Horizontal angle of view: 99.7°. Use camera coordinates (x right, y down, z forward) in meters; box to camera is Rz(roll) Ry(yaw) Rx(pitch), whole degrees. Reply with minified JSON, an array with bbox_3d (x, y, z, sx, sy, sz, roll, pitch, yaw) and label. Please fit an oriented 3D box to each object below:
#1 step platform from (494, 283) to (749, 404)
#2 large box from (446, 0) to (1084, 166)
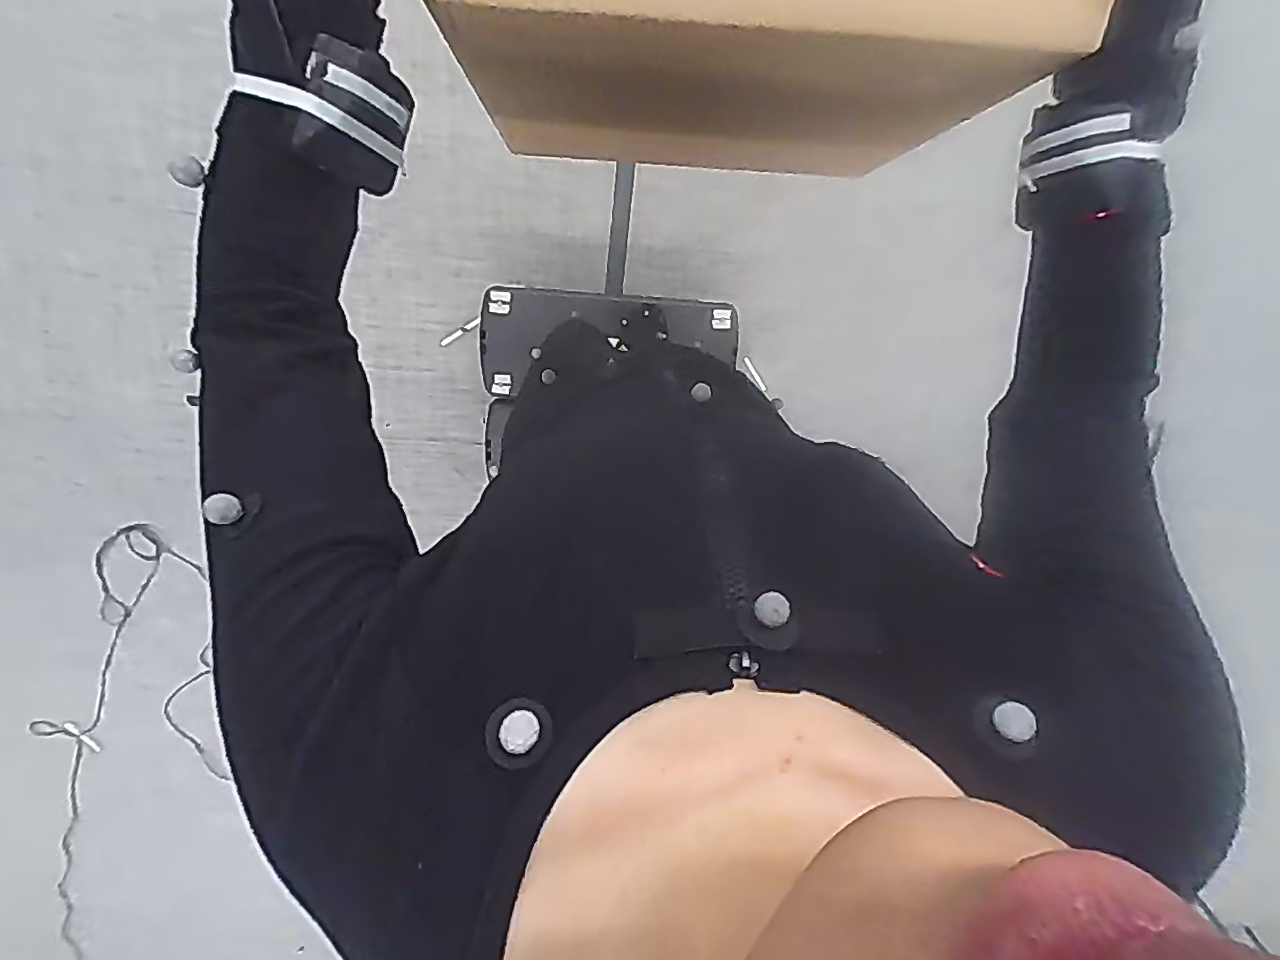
[{"bbox_3d":[-0.049,-0.371,1.487,0.684,0.204,0.286,2,106,-6],"label":"step platform"},{"bbox_3d":[0.069,-0.465,0.426,0.408,0.320,0.320,1,107,-5],"label":"large box"}]
